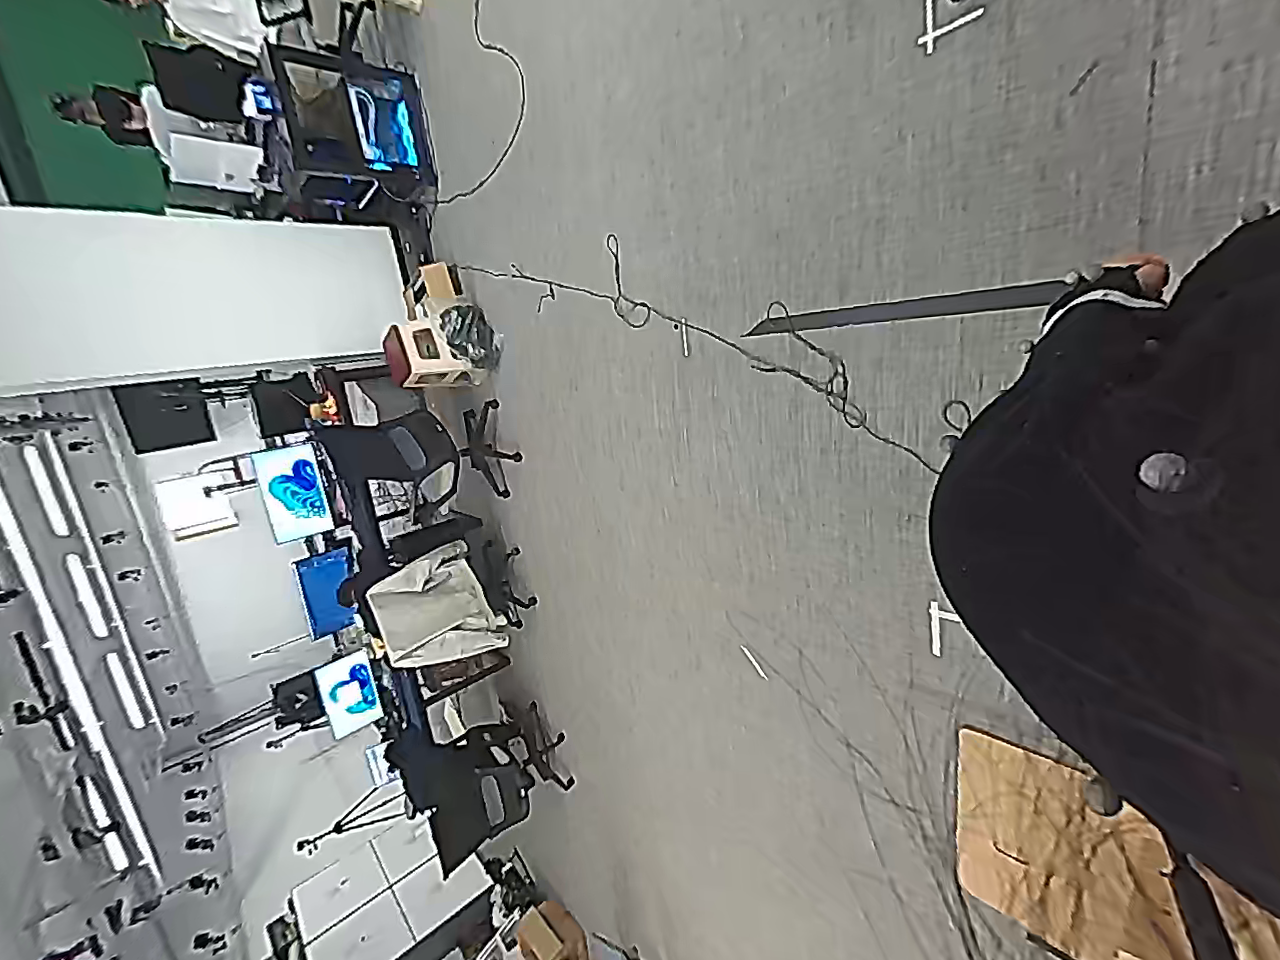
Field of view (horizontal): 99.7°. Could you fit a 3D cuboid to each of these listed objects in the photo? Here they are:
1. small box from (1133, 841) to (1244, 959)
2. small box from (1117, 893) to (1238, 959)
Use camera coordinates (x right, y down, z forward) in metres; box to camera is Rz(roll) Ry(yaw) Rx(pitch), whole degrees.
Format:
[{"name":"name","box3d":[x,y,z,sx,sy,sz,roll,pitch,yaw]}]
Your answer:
[{"name":"small box","box3d":[1.229,0.970,1.217,0.168,0.176,0.179,6,110,50]},{"name":"small box","box3d":[1.106,1.023,1.121,0.168,0.176,0.179,11,113,48]}]
